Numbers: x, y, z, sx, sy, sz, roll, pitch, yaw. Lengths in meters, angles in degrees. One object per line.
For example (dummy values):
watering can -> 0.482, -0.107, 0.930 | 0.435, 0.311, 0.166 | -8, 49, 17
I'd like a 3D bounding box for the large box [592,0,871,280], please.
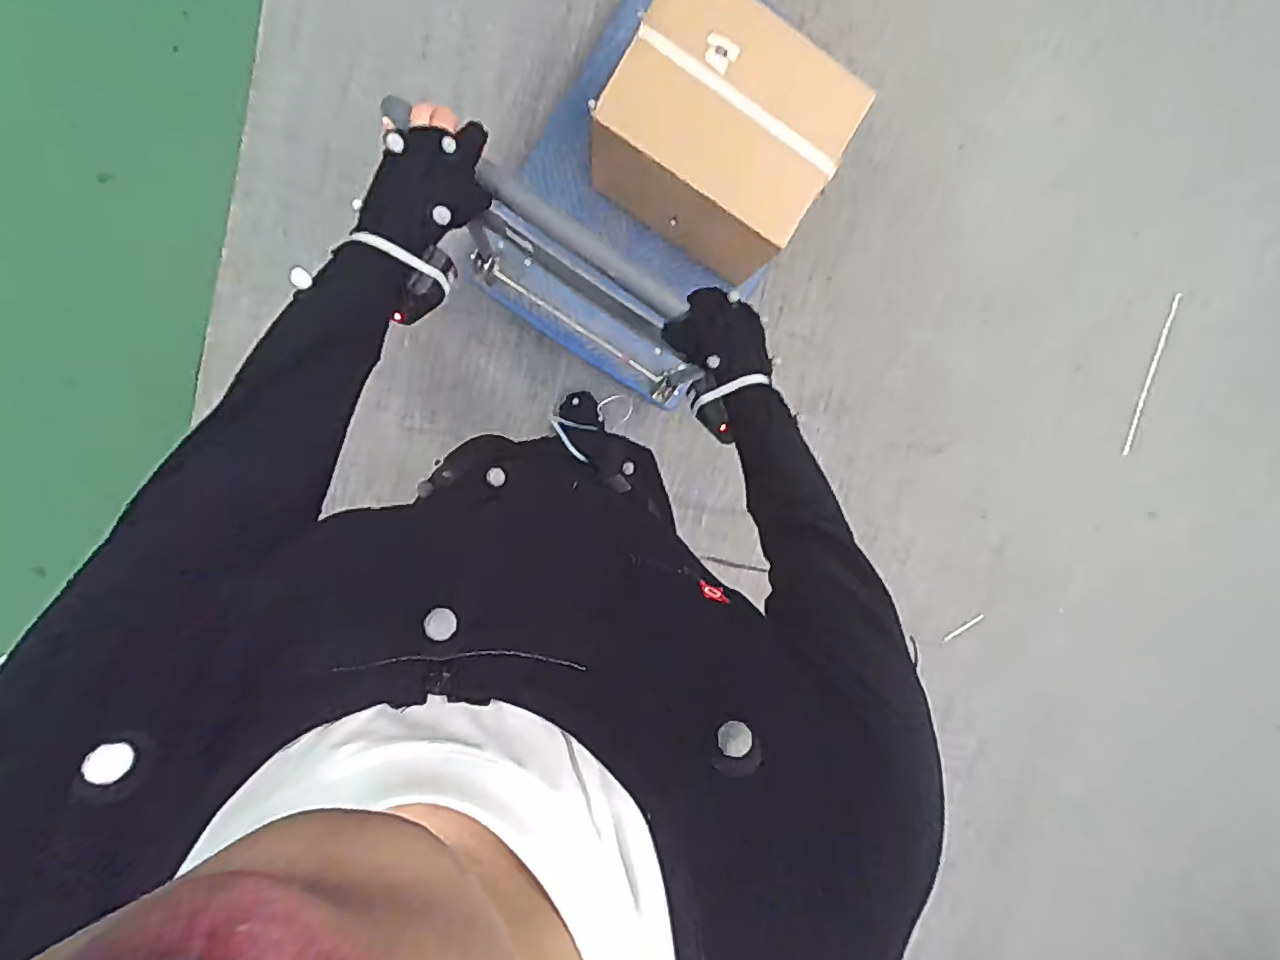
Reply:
large box -> 0.154, -0.669, 1.085 | 0.408, 0.320, 0.320 | 31, 93, -7
